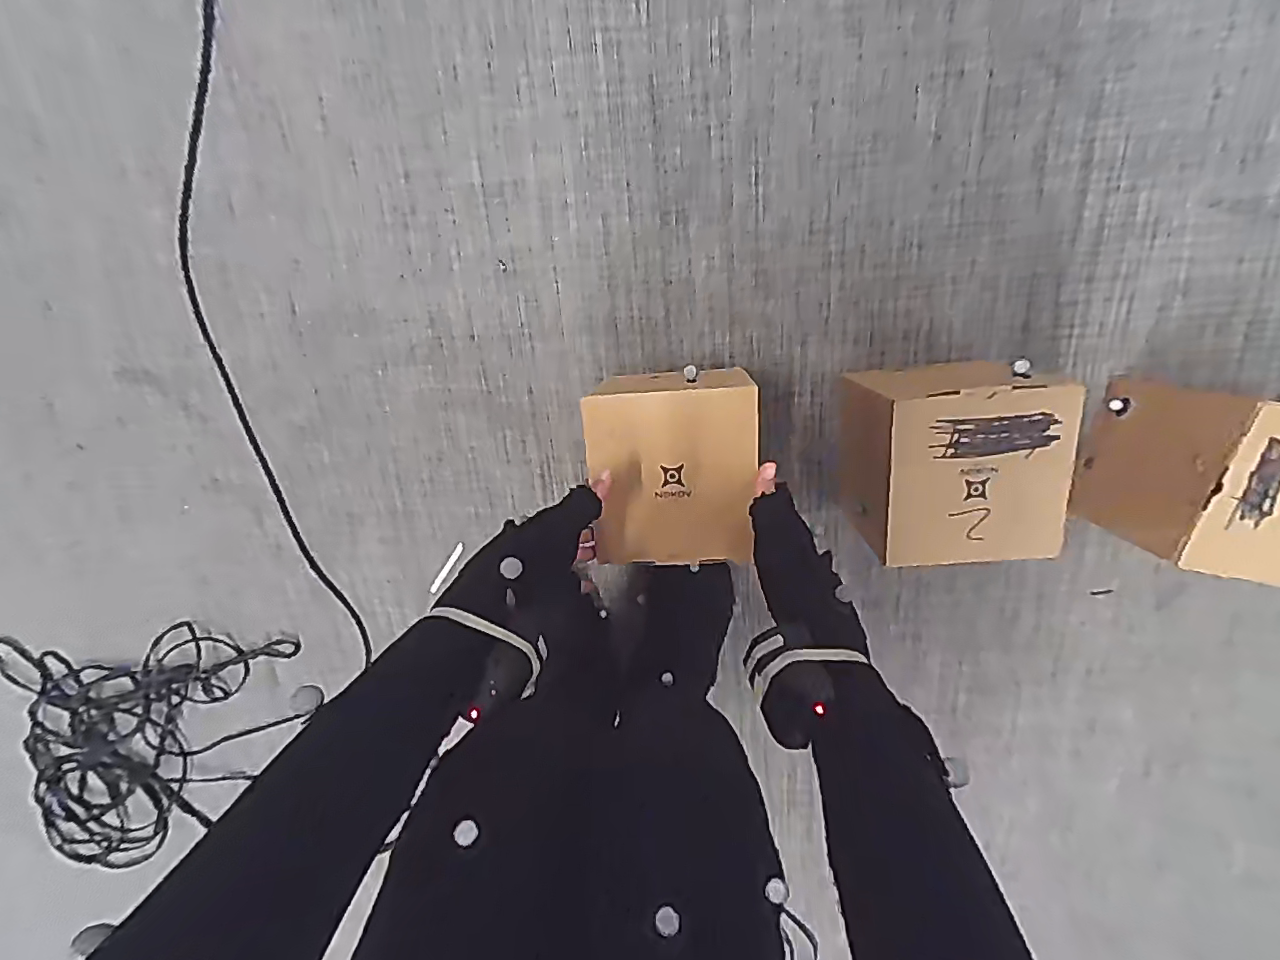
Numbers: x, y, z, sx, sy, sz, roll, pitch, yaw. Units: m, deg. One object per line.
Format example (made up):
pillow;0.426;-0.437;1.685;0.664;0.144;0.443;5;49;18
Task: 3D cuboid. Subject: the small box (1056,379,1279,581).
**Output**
small box;0.610;-0.008;0.582;0.179;0.176;0.168;10;109;-1

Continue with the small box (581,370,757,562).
small box;0.036;-0.026;0.597;0.168;0.176;0.179;-3;108;6
